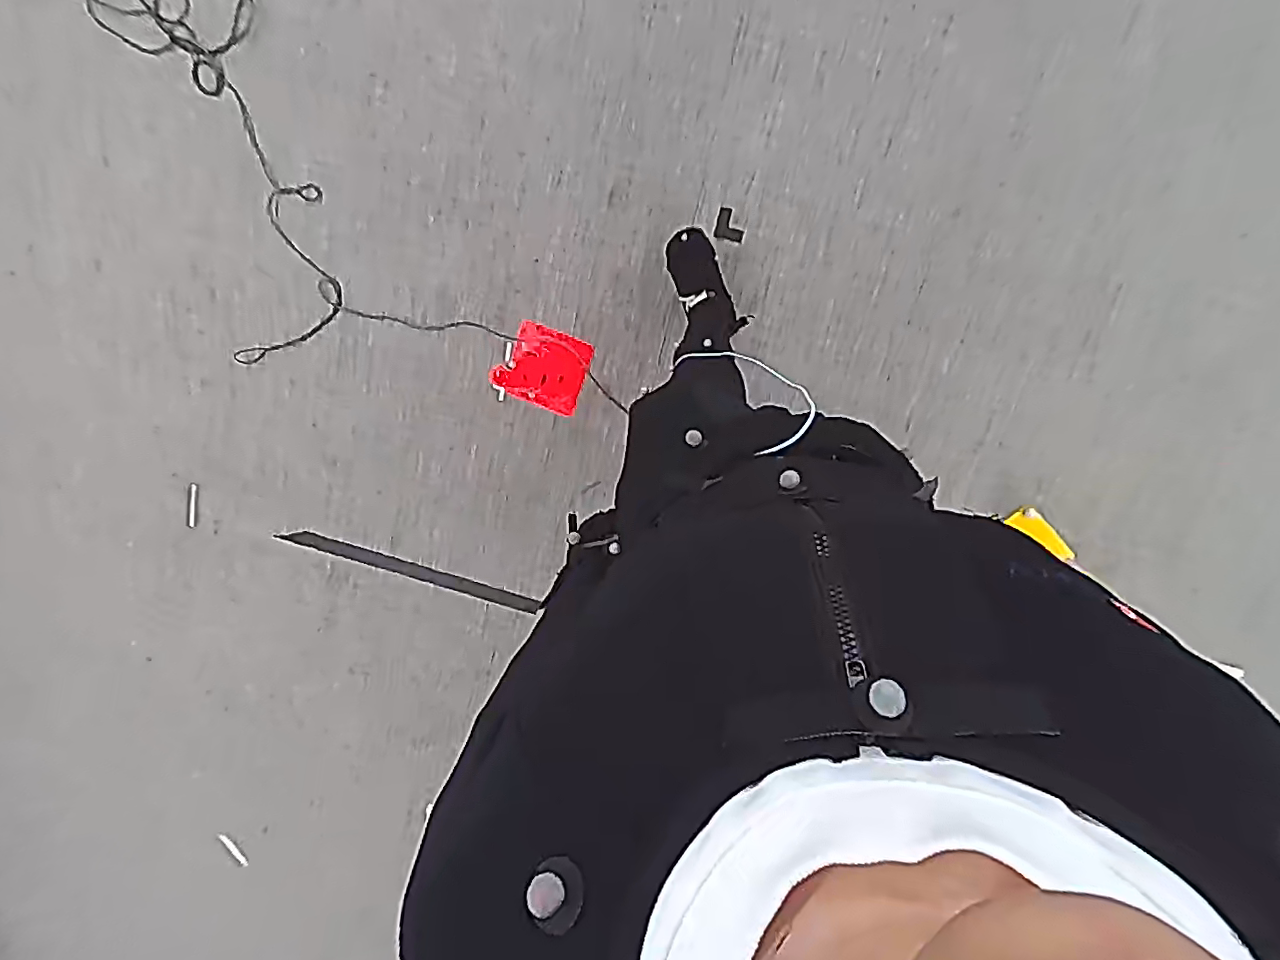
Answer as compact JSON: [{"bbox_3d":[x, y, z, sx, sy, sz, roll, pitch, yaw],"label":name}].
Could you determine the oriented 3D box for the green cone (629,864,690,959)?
[{"bbox_3d":[0.041,1.382,1.598,0.202,0.368,0.200,0,103,8],"label":"green cone"}]

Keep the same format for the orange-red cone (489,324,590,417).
[{"bbox_3d":[-0.261,-0.239,1.235,0.199,0.360,0.198,22,106,-1],"label":"orange-red cone"}]
